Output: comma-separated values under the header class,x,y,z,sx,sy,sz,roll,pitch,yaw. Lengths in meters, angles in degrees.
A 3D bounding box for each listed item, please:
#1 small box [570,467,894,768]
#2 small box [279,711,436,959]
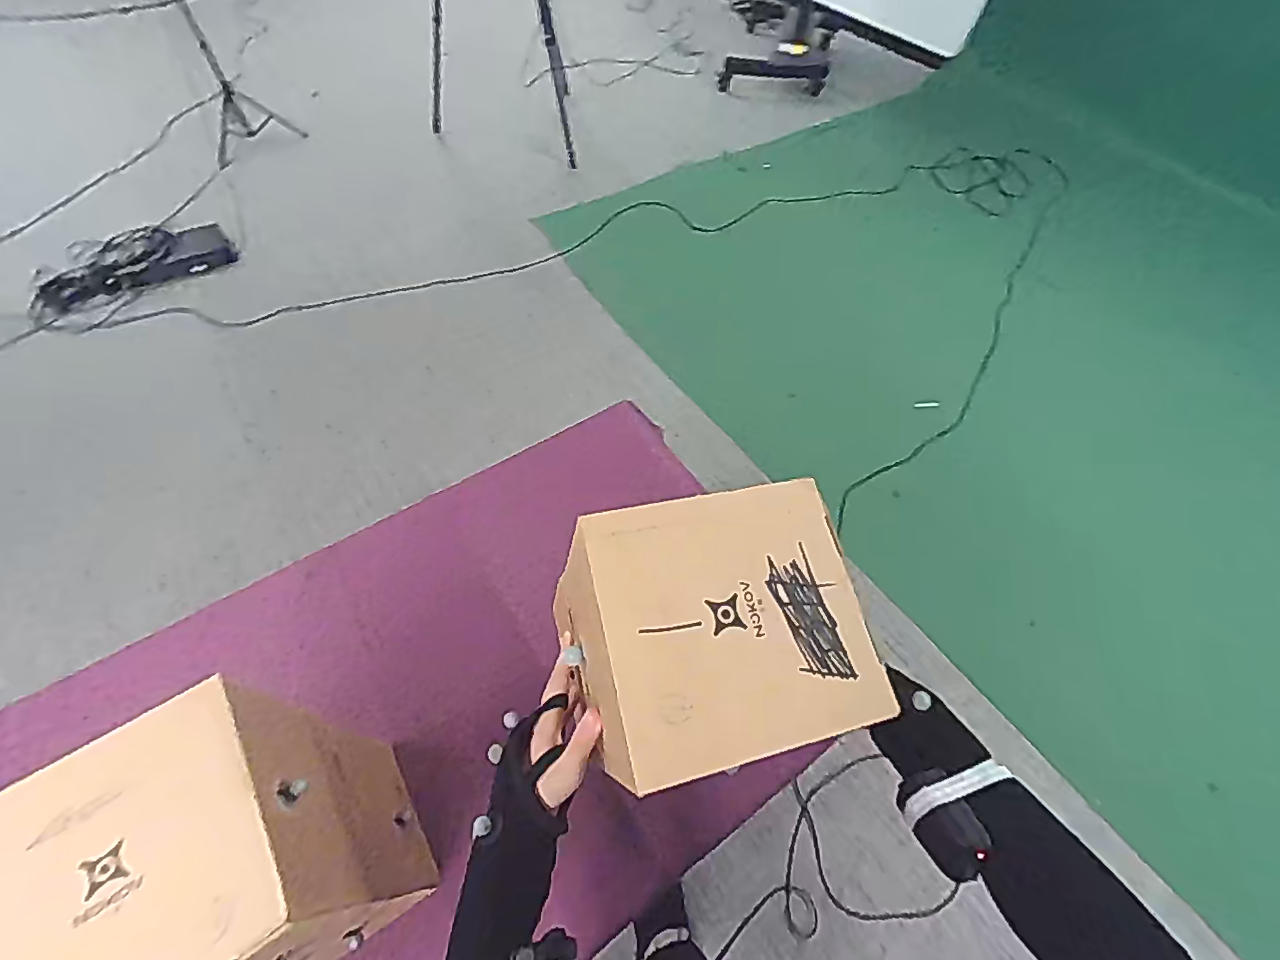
class,x,y,z,sx,sy,sz,roll,pitch,yaw
small box,0.048,0.105,0.420,0.179,0.176,0.168,-9,69,-14
small box,-0.332,0.365,0.532,0.179,0.176,0.168,-28,62,-20
